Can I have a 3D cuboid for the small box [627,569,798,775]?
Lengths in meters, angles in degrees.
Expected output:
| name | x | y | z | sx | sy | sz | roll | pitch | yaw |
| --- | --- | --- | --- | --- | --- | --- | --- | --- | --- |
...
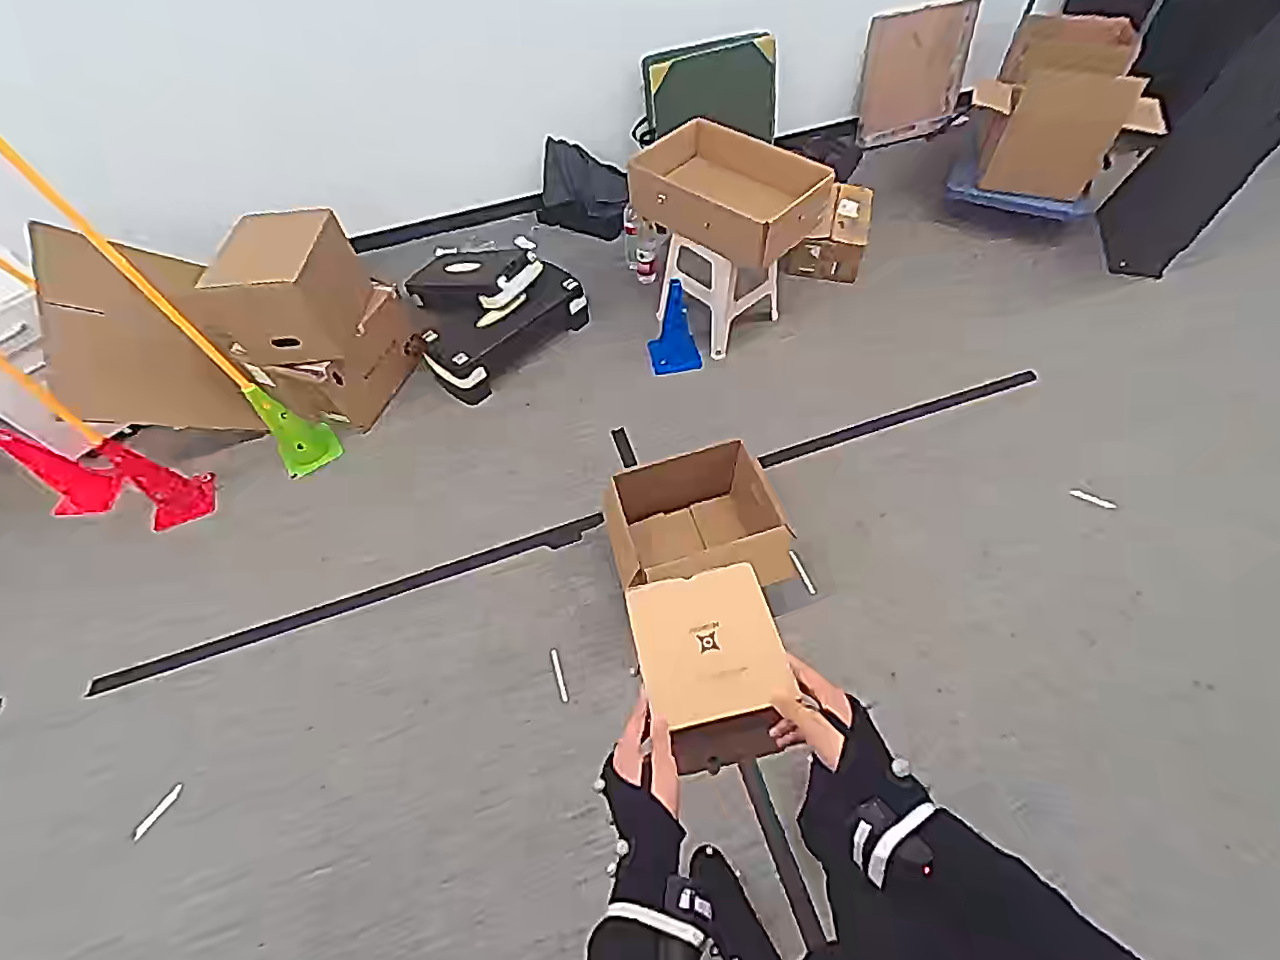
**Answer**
| name | x | y | z | sx | sy | sz | roll | pitch | yaw |
| --- | --- | --- | --- | --- | --- | --- | --- | --- | --- |
| small box | 0.081 | 0.244 | 0.693 | 0.168 | 0.176 | 0.179 | -11 | 45 | -5 |
